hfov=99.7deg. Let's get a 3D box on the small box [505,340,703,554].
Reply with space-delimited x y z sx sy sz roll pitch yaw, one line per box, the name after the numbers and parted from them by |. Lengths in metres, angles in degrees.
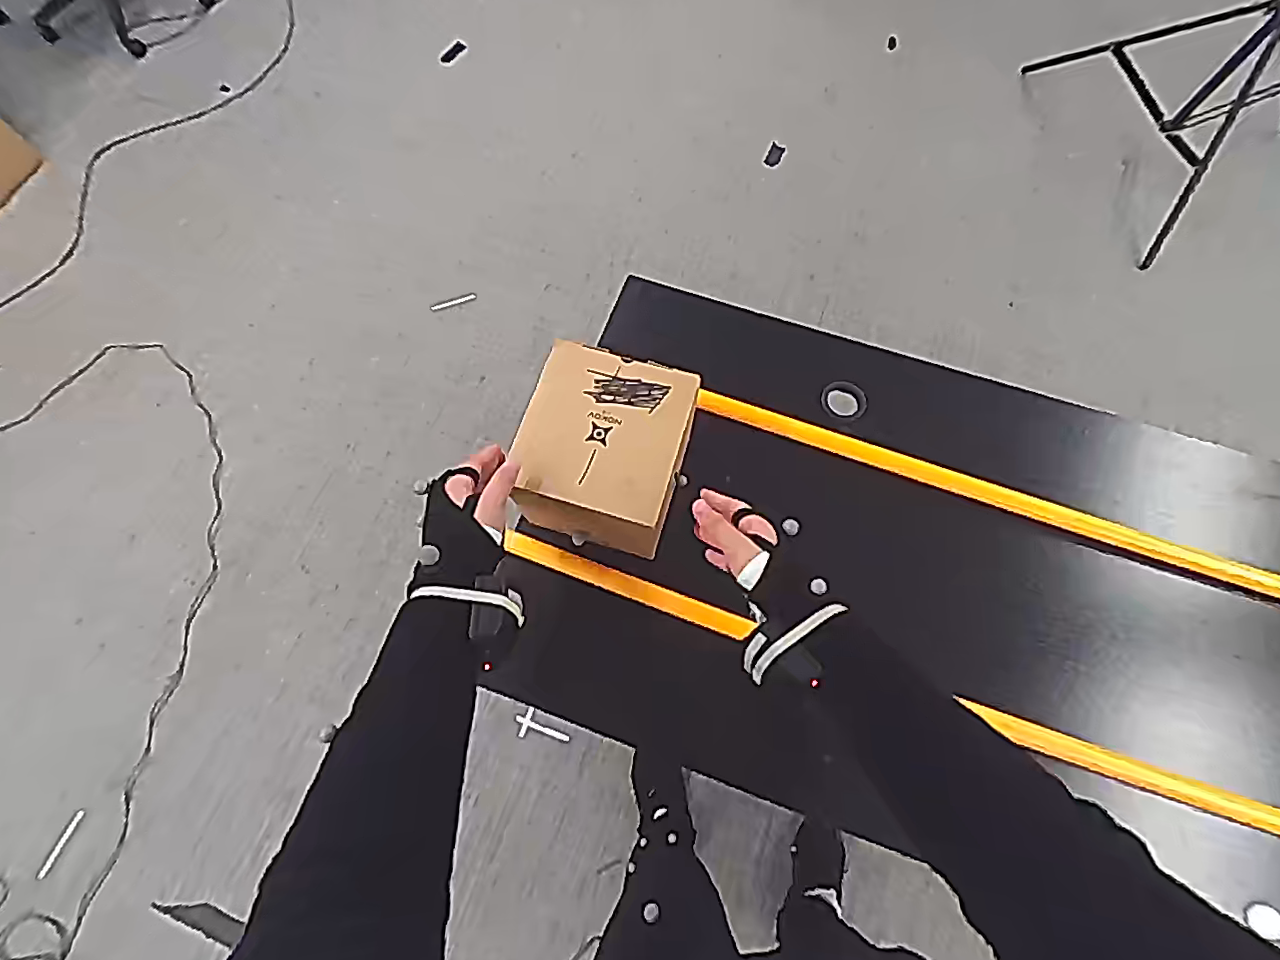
-0.035 -0.029 0.634 0.168 0.176 0.179 16 73 6 | small box
